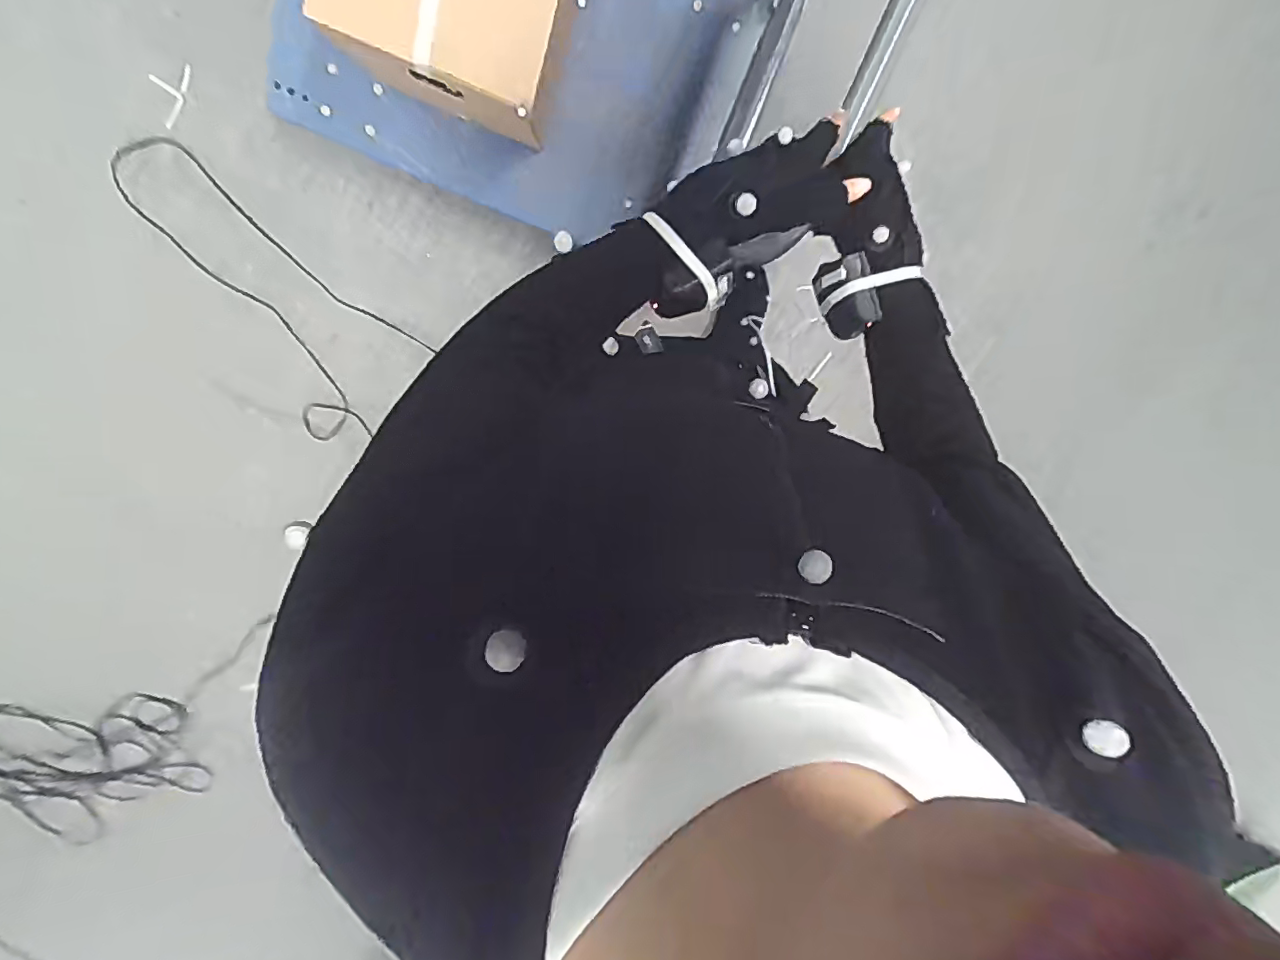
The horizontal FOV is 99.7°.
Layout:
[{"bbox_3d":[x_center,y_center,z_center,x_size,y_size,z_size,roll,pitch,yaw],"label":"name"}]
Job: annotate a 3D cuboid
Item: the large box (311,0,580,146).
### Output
[{"bbox_3d":[-0.250,-0.812,0.828,0.320,0.320,0.408,18,110,-12],"label":"large box"}]
